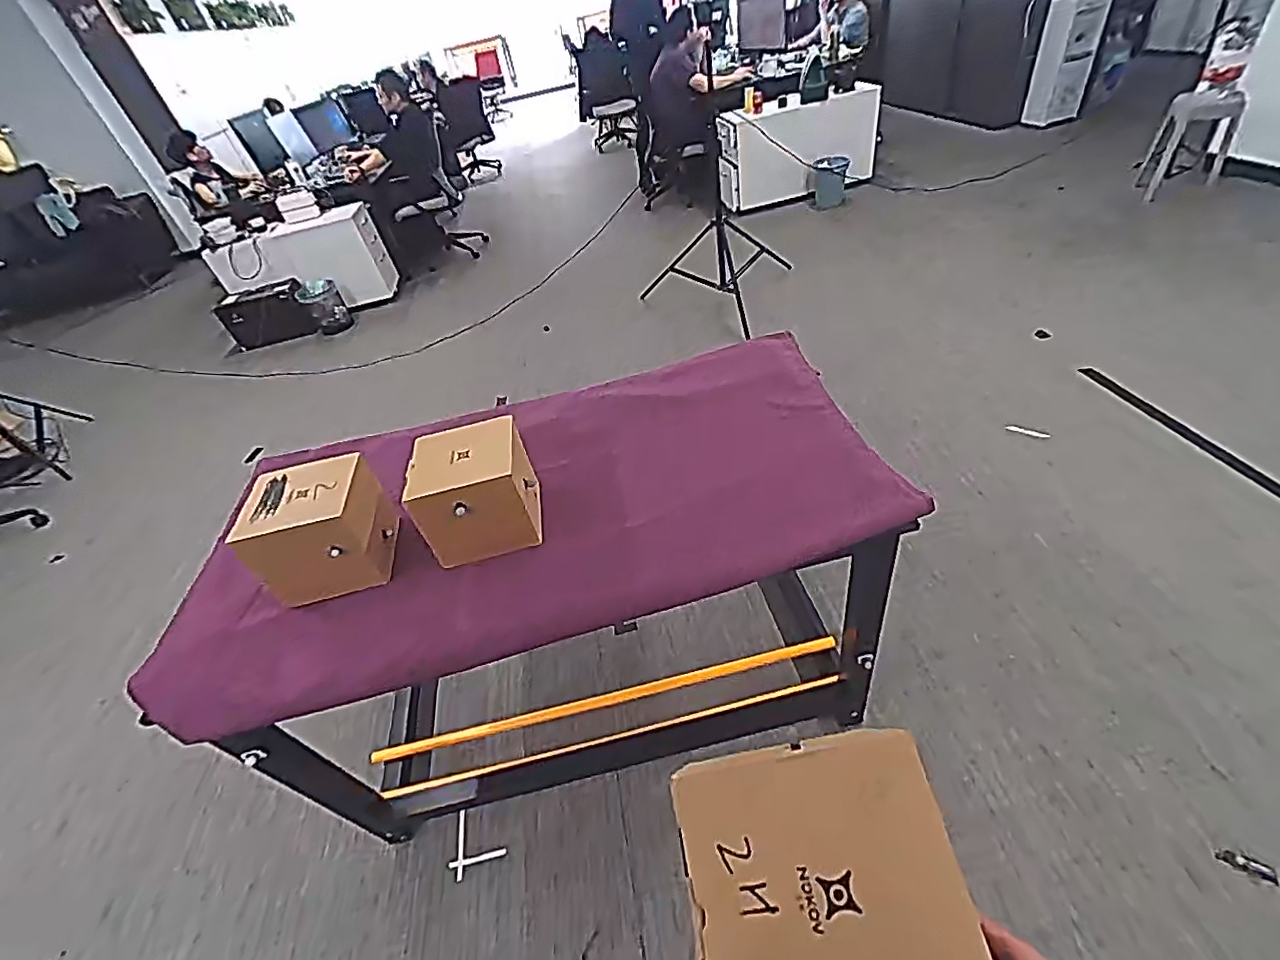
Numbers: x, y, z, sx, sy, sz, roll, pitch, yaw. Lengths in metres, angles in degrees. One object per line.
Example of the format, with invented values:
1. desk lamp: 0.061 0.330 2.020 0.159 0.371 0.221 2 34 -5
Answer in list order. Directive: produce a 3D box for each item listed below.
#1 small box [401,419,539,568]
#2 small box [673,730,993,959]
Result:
1. small box: -0.278 0.026 0.931 0.179 0.176 0.168 -15 42 0
2. small box: 0.132 0.297 0.420 0.179 0.176 0.168 -14 63 5
